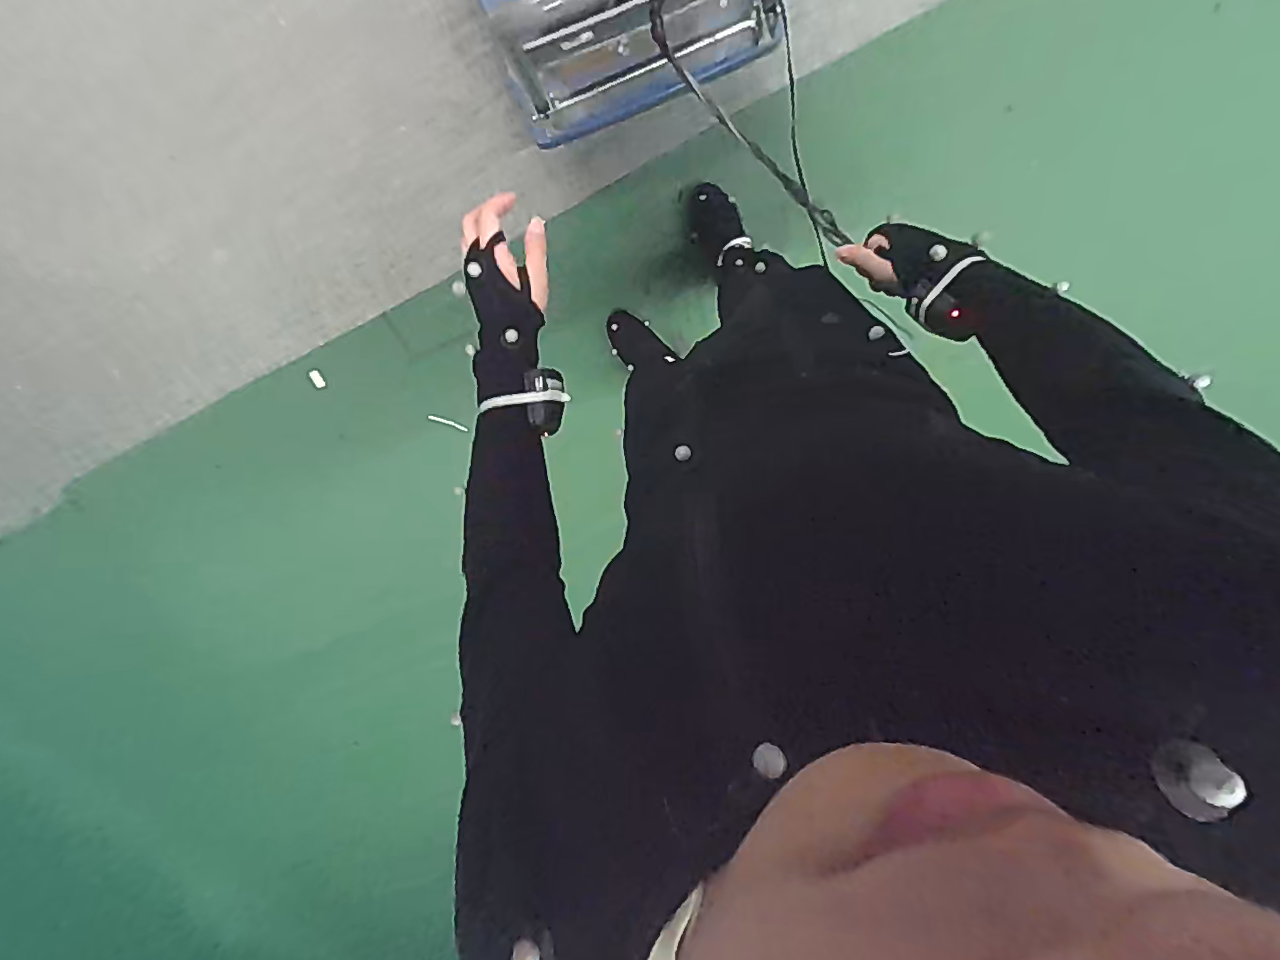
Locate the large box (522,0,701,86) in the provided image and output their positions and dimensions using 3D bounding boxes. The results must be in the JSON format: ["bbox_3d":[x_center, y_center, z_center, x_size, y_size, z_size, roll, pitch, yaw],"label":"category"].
[{"bbox_3d":[-0.094,-0.995,0.922,0.320,0.320,0.408,-18,112,5],"label":"large box"}]
